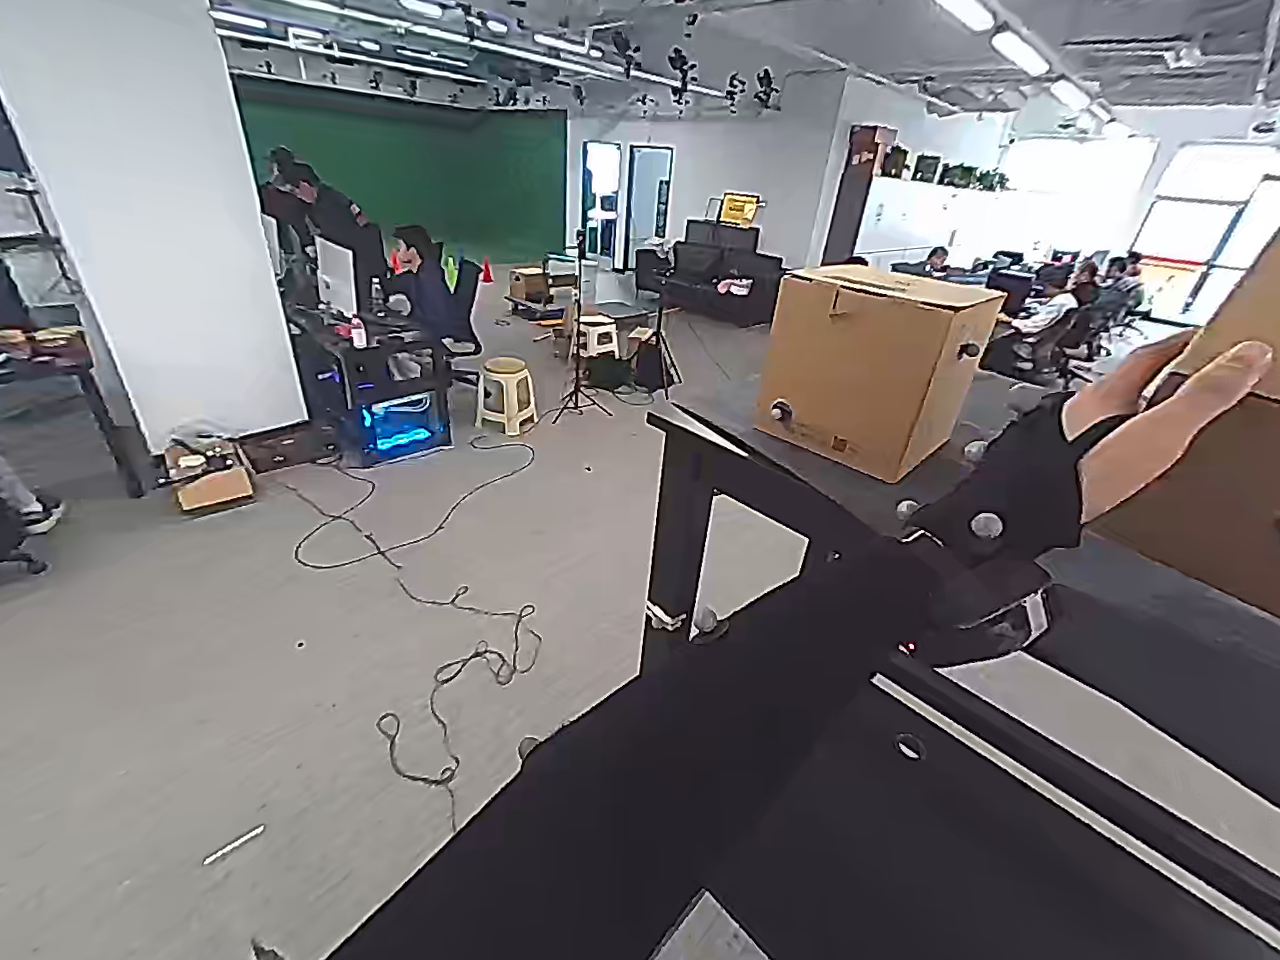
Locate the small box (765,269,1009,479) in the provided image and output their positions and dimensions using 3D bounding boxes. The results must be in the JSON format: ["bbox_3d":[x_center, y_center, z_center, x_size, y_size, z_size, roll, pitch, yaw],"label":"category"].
[{"bbox_3d":[0.252,-0.120,0.578,0.168,0.176,0.179,29,37,34],"label":"small box"}]
